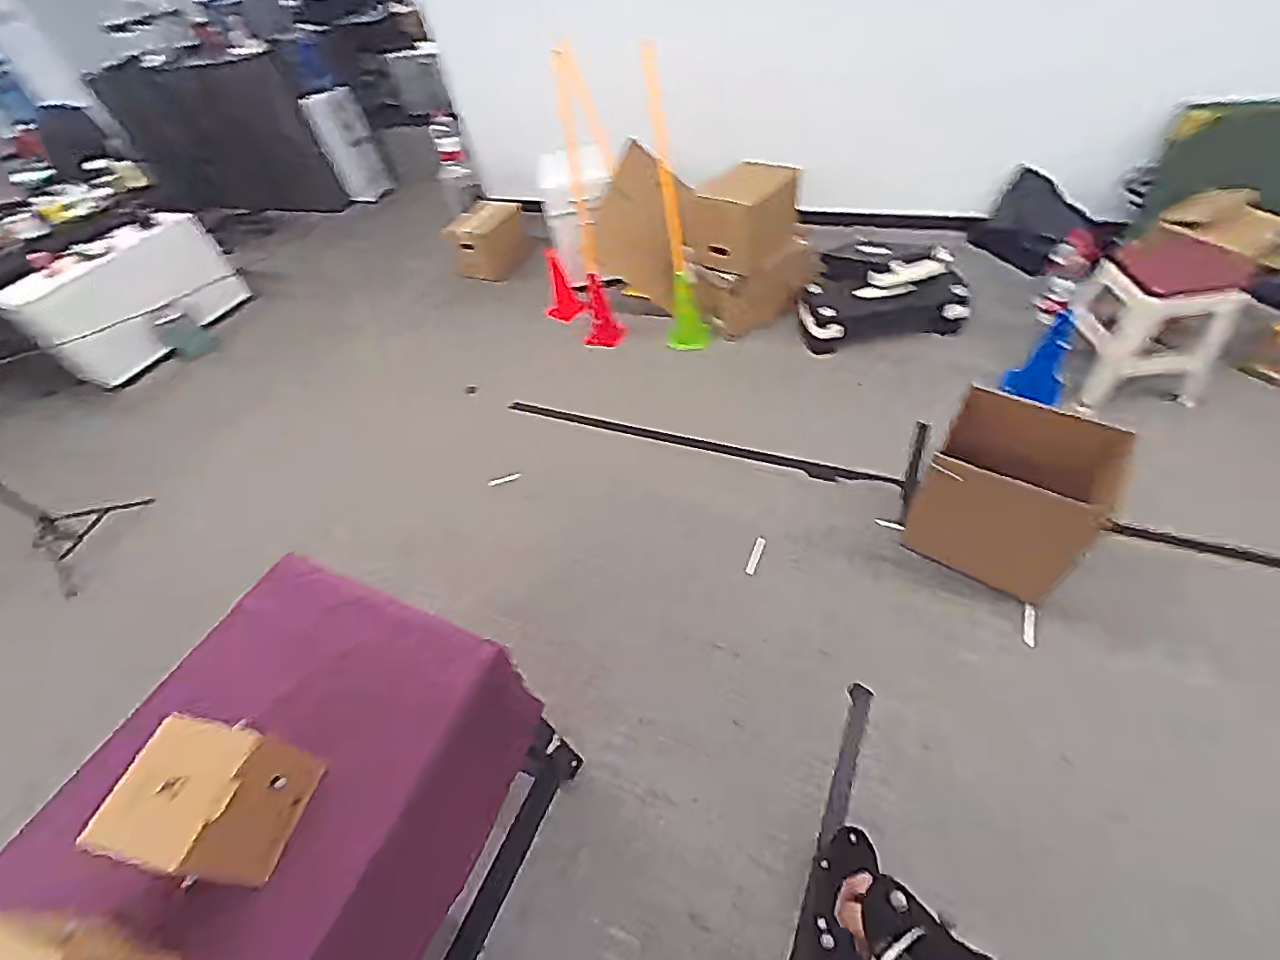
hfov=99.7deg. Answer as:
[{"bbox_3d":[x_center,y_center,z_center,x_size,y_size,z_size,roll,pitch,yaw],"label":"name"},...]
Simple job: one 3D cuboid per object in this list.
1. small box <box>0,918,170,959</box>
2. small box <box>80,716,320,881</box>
[{"bbox_3d":[-0.745,0.659,0.658,0.179,0.176,0.168,5,51,17],"label":"small box"},{"bbox_3d":[-0.626,0.471,0.797,0.179,0.176,0.168,3,50,15],"label":"small box"}]
